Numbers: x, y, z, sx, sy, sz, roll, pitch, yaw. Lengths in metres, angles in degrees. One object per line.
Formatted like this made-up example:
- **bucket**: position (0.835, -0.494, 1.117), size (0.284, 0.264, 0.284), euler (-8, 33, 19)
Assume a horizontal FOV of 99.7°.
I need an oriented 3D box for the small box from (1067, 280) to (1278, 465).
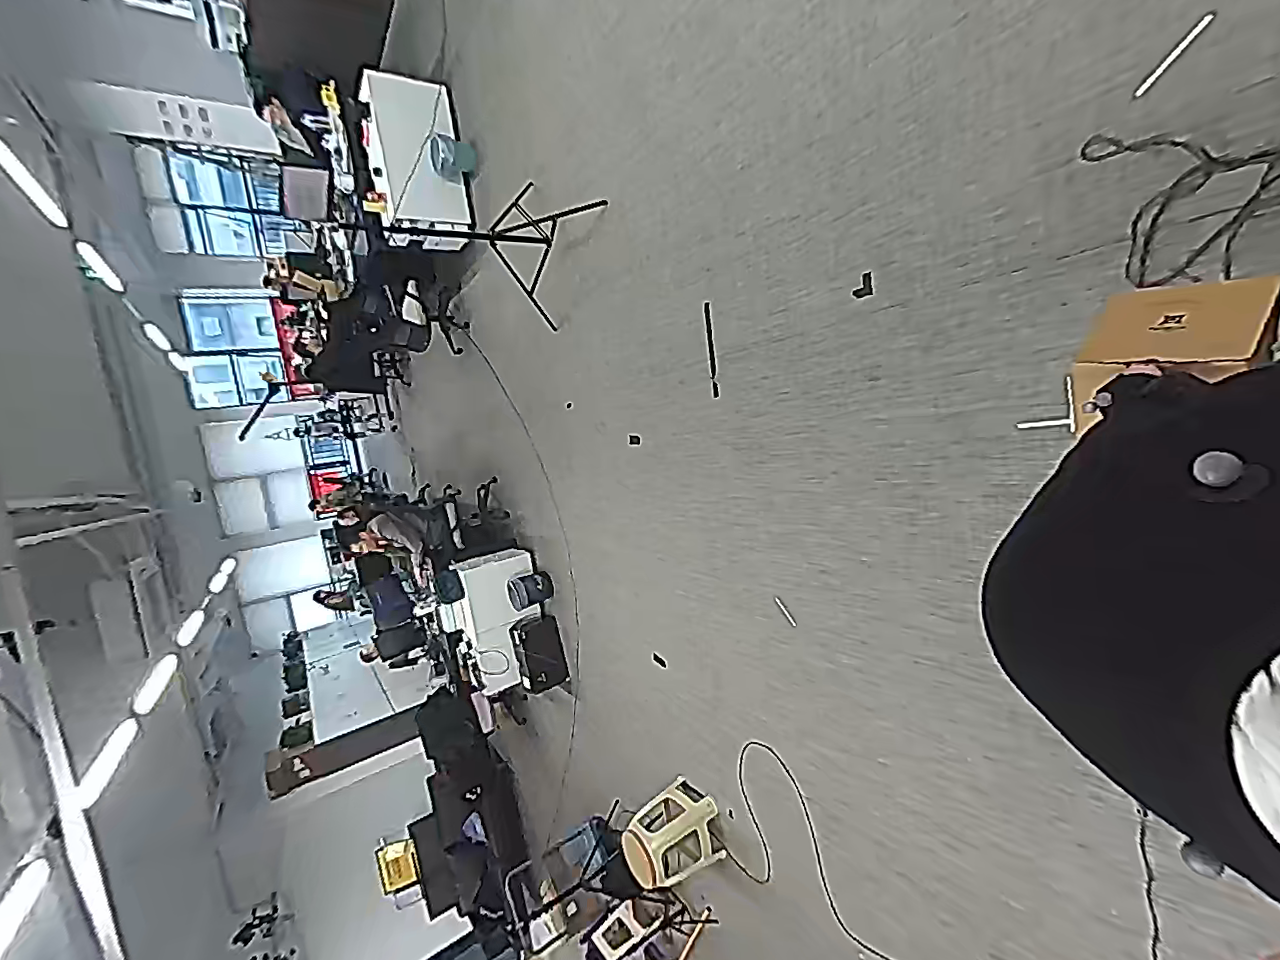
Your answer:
- **small box**: position (0.716, -0.142, 0.735), size (0.168, 0.179, 0.176), euler (16, 145, 51)
